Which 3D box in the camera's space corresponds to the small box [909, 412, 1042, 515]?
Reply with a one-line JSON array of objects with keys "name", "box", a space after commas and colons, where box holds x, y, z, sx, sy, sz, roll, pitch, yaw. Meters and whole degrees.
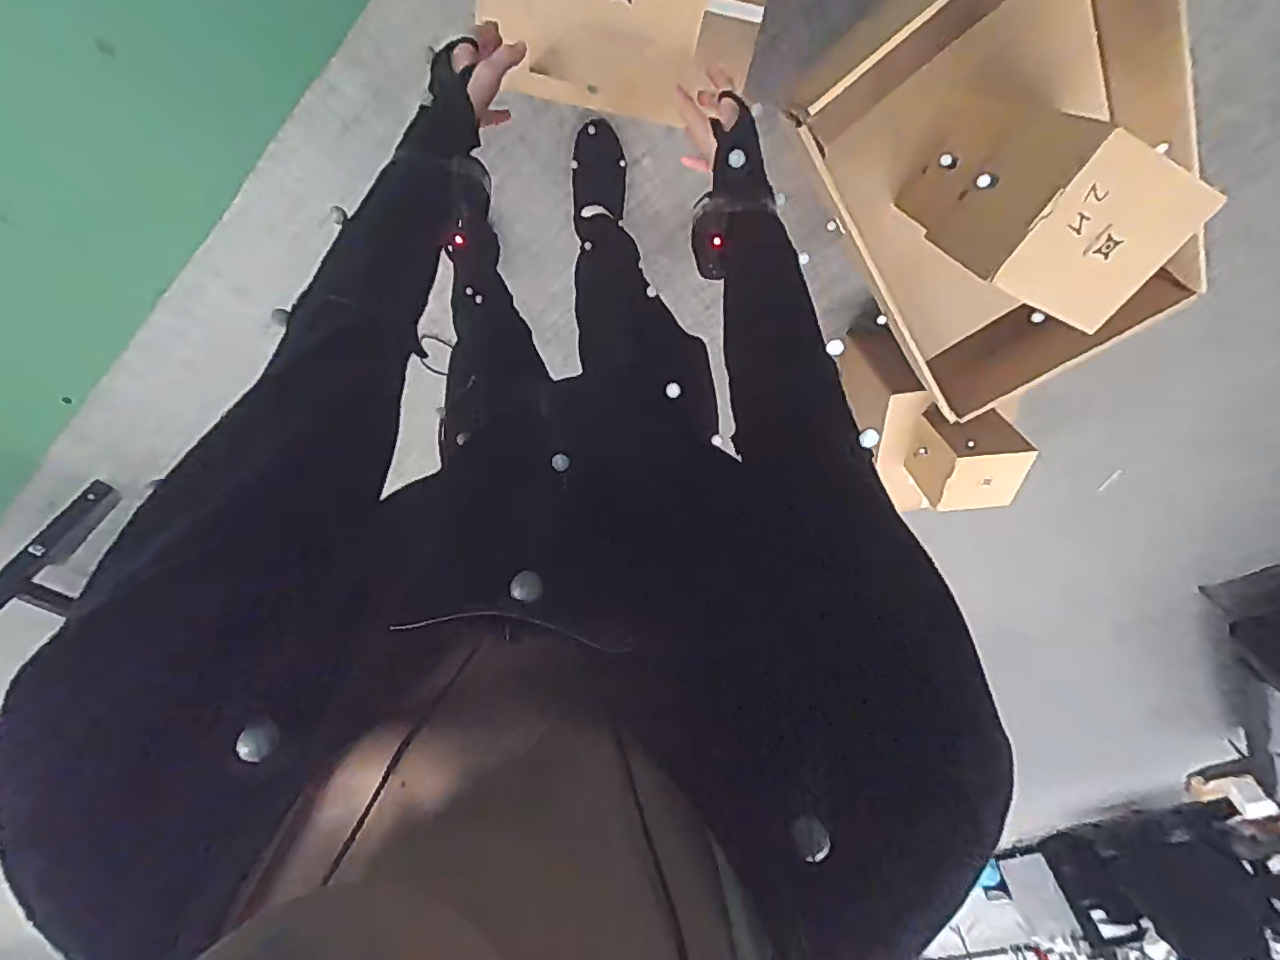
[{"name": "small box", "box": [0.757, -0.041, 1.242, 0.179, 0.176, 0.168, -5, 132, 0]}]

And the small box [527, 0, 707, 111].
[{"name": "small box", "box": [-0.020, -0.516, 0.563, 0.168, 0.176, 0.179, 8, 130, -9]}]

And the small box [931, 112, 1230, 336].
[{"name": "small box", "box": [0.494, -0.304, 0.637, 0.179, 0.176, 0.168, 17, 128, -15]}]

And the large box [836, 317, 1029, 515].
[{"name": "large box", "box": [0.743, -0.169, 1.454, 0.320, 0.320, 0.408, -8, 133, 4]}]
